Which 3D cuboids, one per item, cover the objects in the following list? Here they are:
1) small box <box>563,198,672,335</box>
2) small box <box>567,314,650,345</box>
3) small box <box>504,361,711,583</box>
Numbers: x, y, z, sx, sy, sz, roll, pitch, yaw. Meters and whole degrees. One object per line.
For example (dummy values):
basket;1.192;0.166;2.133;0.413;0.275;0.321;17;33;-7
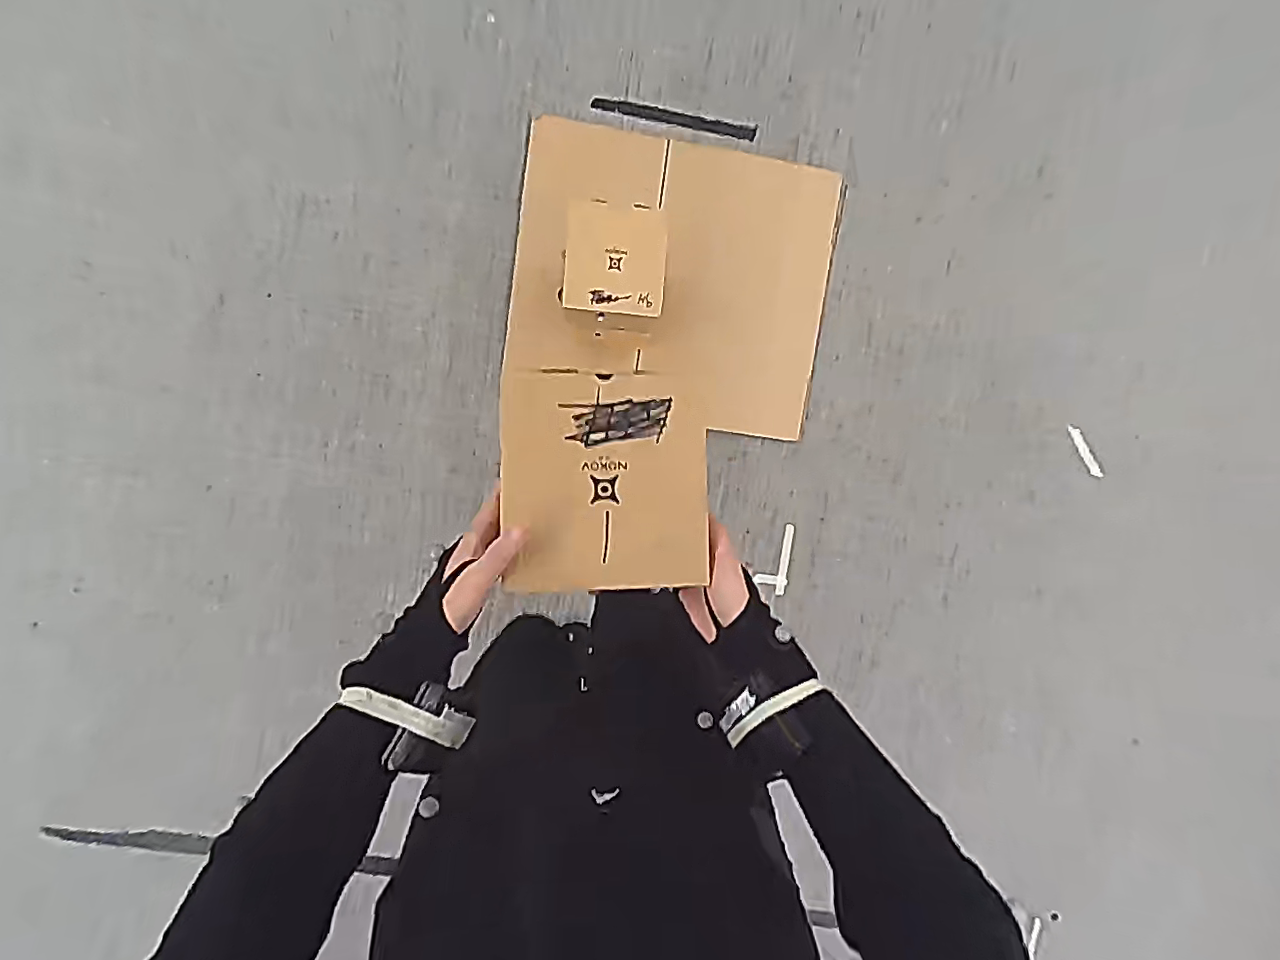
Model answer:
small box;-0.043;-0.366;0.955;0.168;0.176;0.179;4;95;-4
small box;-0.055;-0.382;1.118;0.168;0.176;0.179;6;96;-5
small box;-0.035;-0.001;0.508;0.168;0.176;0.179;-1;86;-7
